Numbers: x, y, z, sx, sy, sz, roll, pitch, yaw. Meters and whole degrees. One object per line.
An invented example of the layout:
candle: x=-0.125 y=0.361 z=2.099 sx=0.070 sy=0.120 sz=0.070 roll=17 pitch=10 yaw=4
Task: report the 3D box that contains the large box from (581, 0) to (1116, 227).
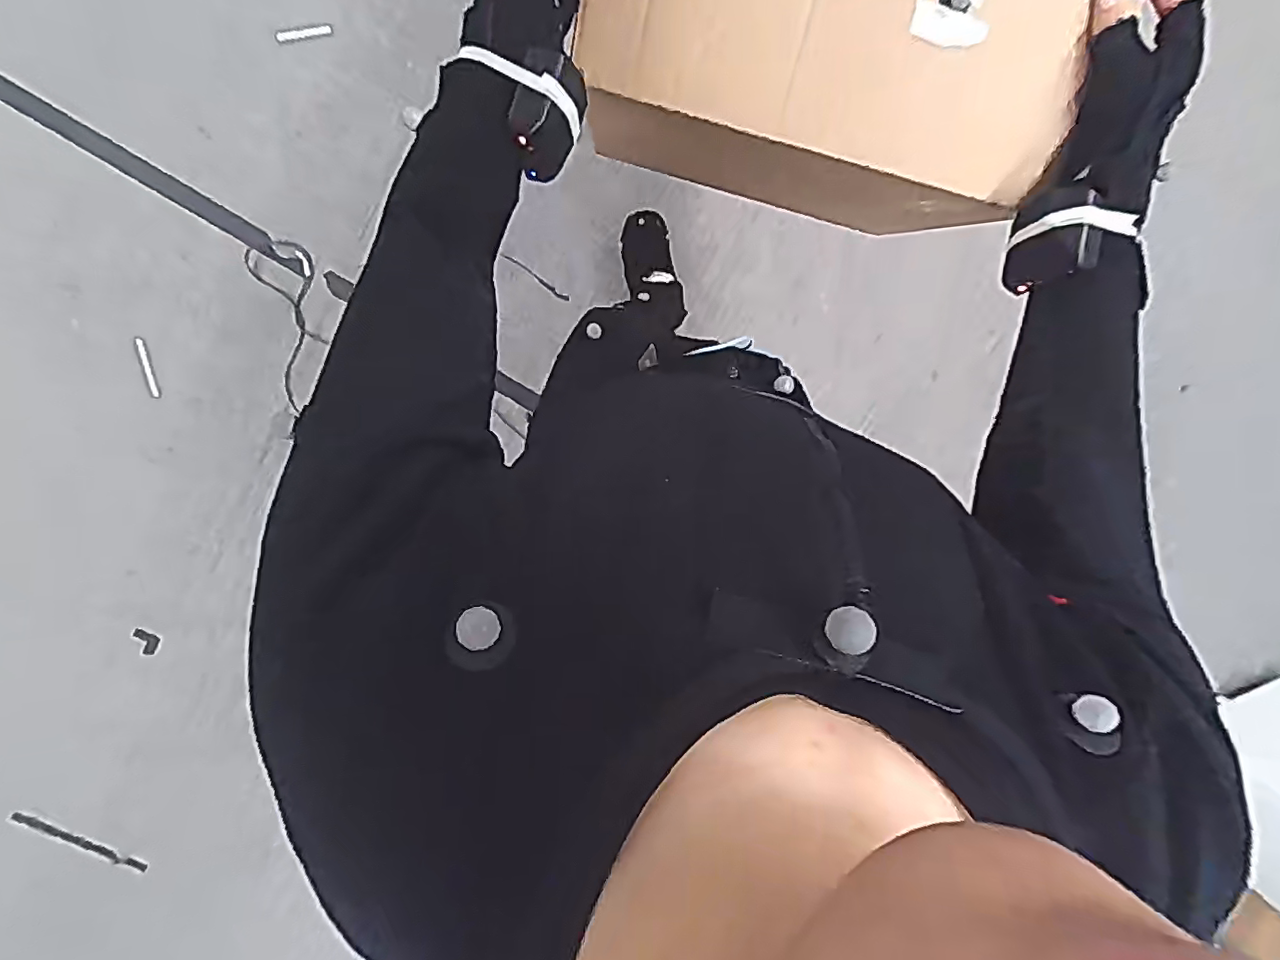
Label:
large box: x=0.172 y=-0.470 z=0.535 sx=0.408 sy=0.320 sz=0.320 roll=12 pitch=112 yaw=-7
